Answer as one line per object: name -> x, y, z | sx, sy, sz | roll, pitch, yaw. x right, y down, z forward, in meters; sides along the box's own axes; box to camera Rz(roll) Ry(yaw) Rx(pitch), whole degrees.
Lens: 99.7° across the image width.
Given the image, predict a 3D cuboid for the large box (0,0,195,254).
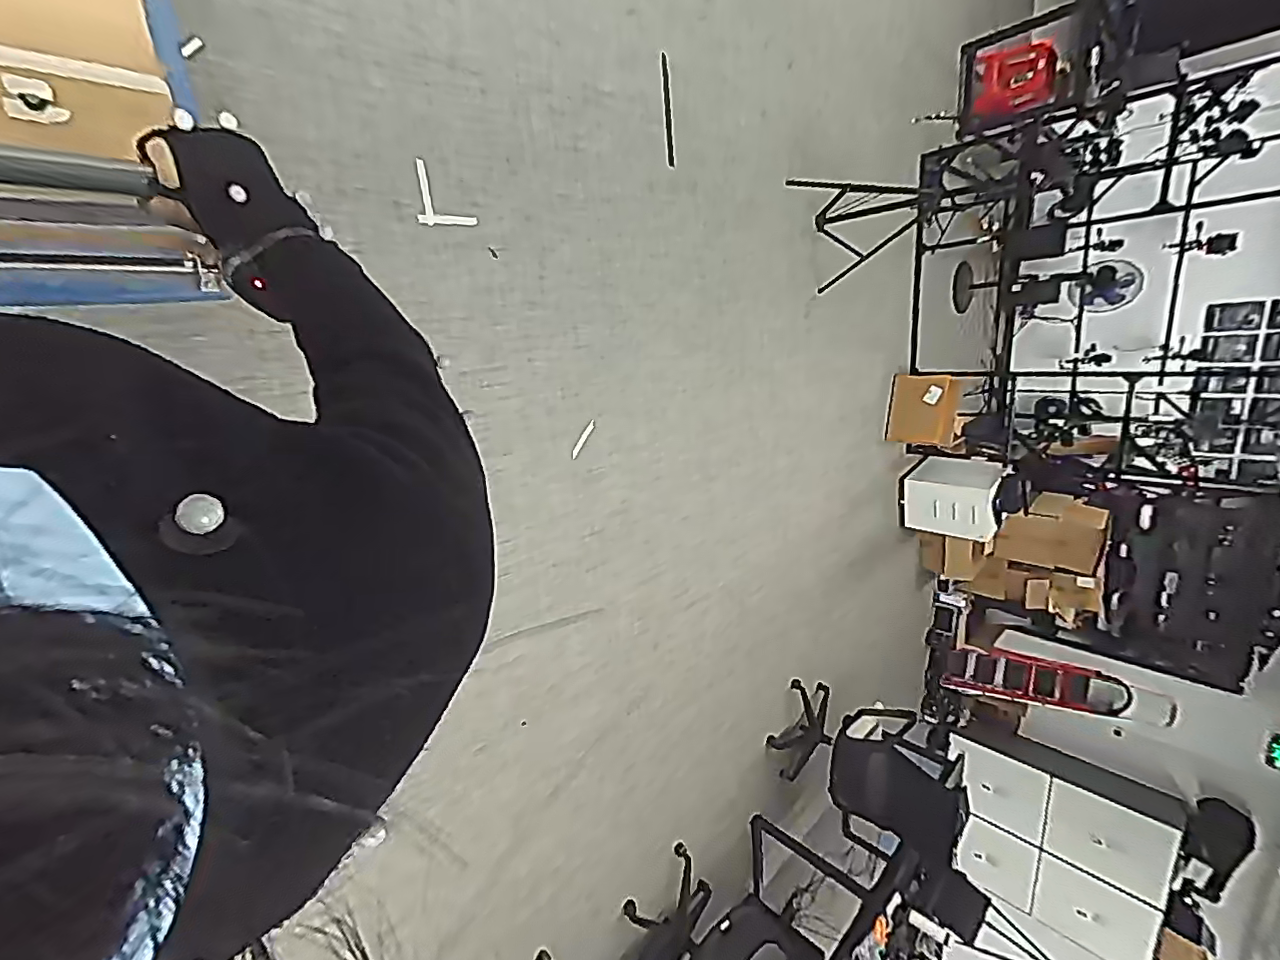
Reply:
large box -> -0.896, -0.490, 0.709 | 0.408, 0.320, 0.320 | -18, 110, -43
